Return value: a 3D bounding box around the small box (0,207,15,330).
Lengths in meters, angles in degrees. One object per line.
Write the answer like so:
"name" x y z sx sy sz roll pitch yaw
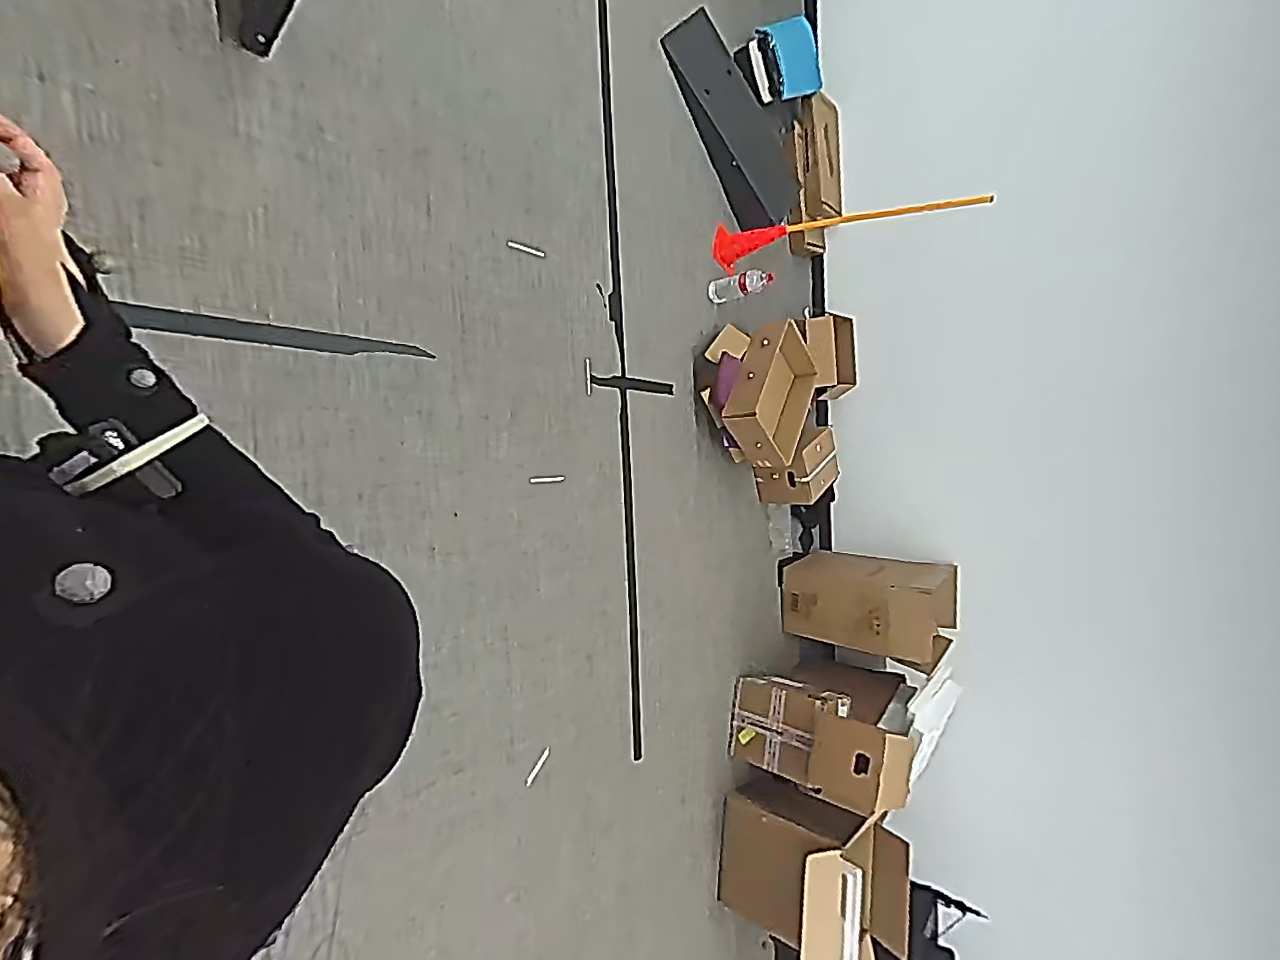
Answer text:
"small box" -0.417 -0.165 0.238 0.168 0.176 0.179 -10 101 -50
